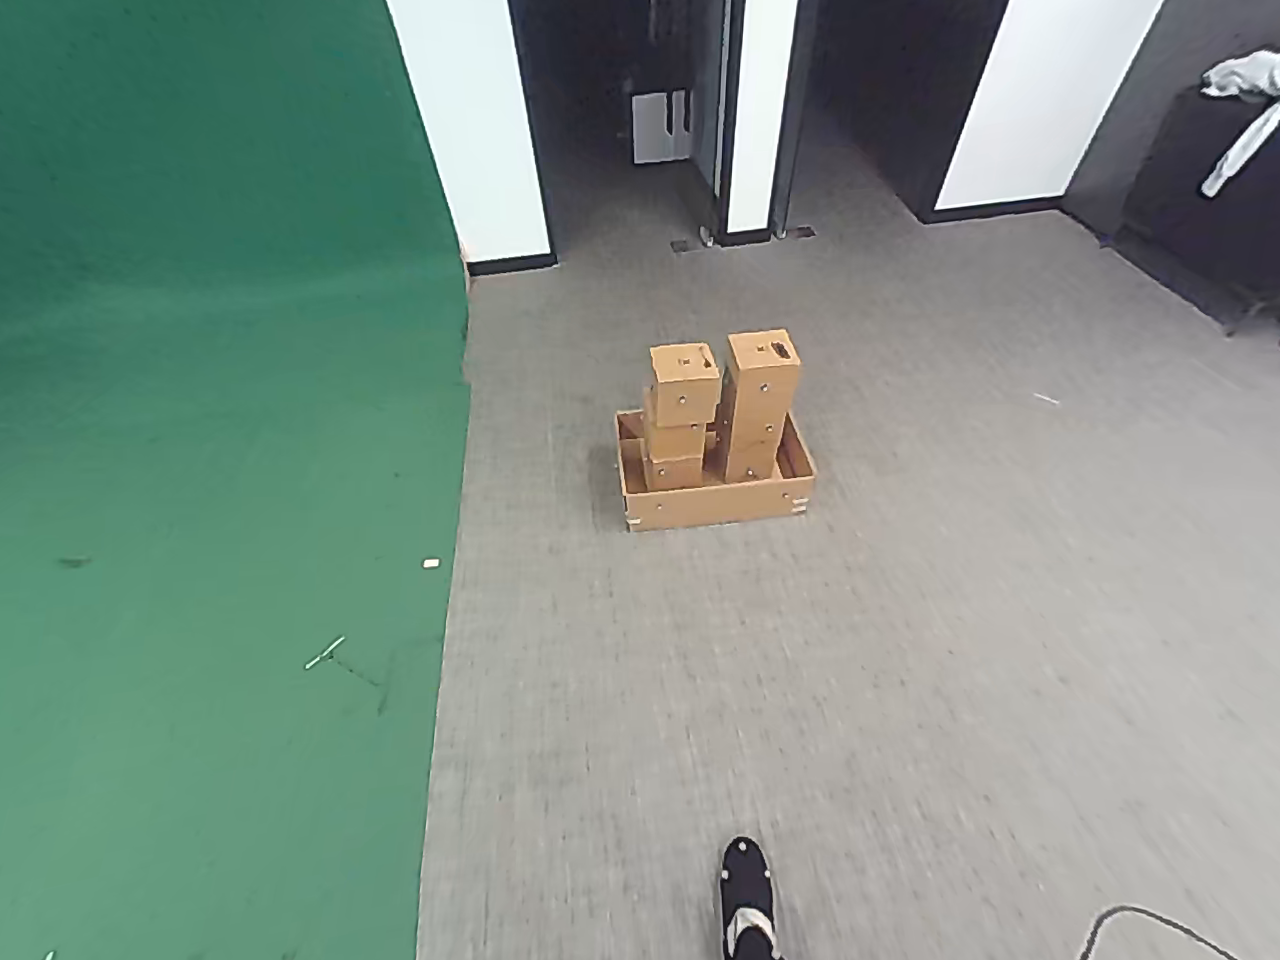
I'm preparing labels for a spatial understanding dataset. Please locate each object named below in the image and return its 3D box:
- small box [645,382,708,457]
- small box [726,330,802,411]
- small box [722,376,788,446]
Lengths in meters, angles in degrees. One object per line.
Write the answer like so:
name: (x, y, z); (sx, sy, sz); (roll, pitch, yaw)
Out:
small box: (0.113, -0.188, 1.722); (0.179, 0.176, 0.168); (-7, 50, -5)
small box: (0.361, -0.322, 1.605); (0.179, 0.176, 0.168); (-6, 50, -1)
small box: (0.363, -0.220, 1.732); (0.168, 0.176, 0.179); (-5, 50, -2)
